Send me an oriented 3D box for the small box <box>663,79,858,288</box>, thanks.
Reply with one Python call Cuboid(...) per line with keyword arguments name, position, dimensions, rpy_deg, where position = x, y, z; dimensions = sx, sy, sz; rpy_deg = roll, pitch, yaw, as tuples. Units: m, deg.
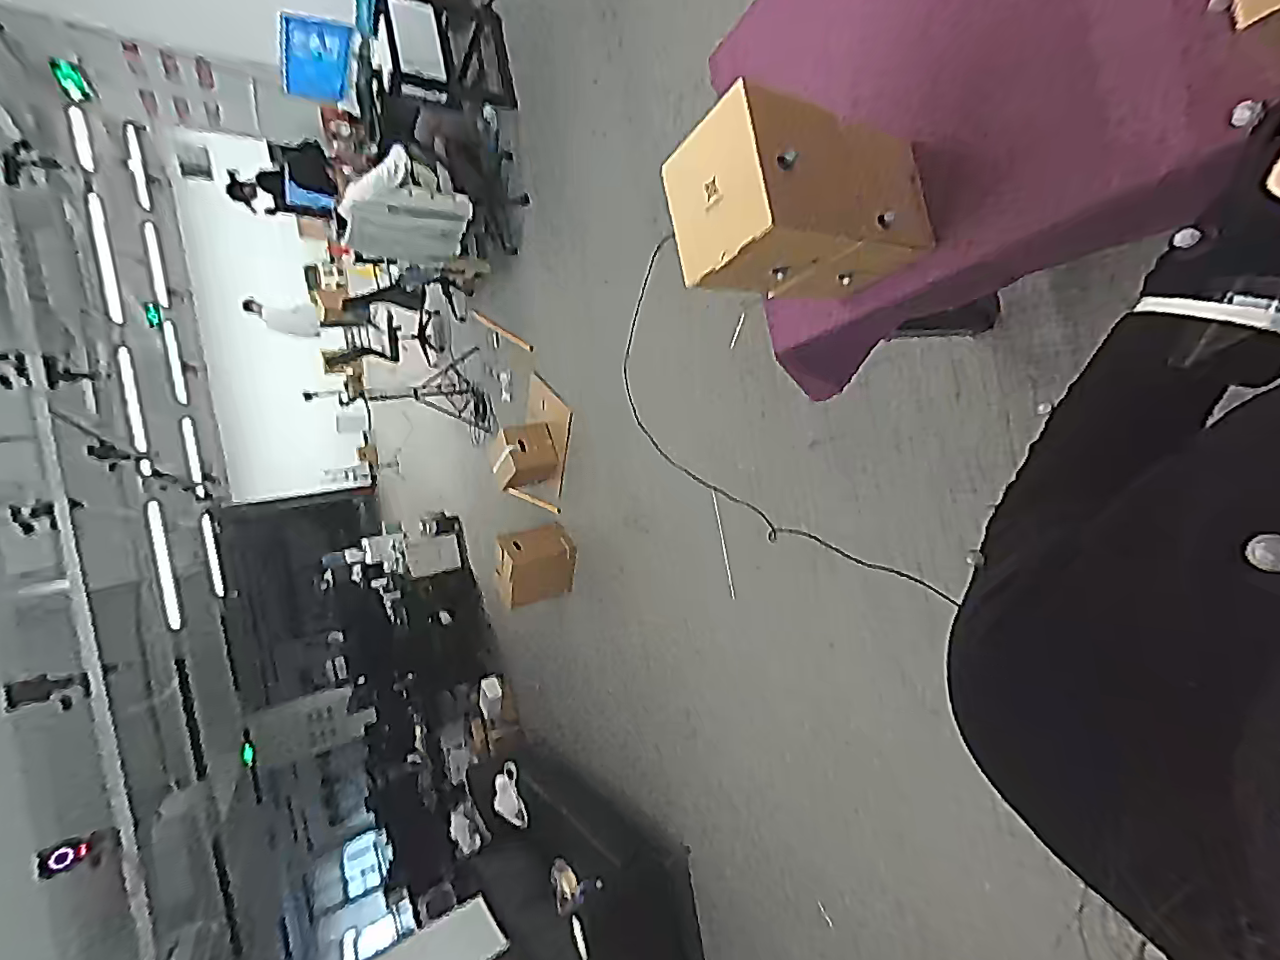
Cuboid(name="small box", position=(0.158, -0.371, 0.717), dimensions=(0.168, 0.176, 0.179), rpy_deg=(-15, 87, 57))
